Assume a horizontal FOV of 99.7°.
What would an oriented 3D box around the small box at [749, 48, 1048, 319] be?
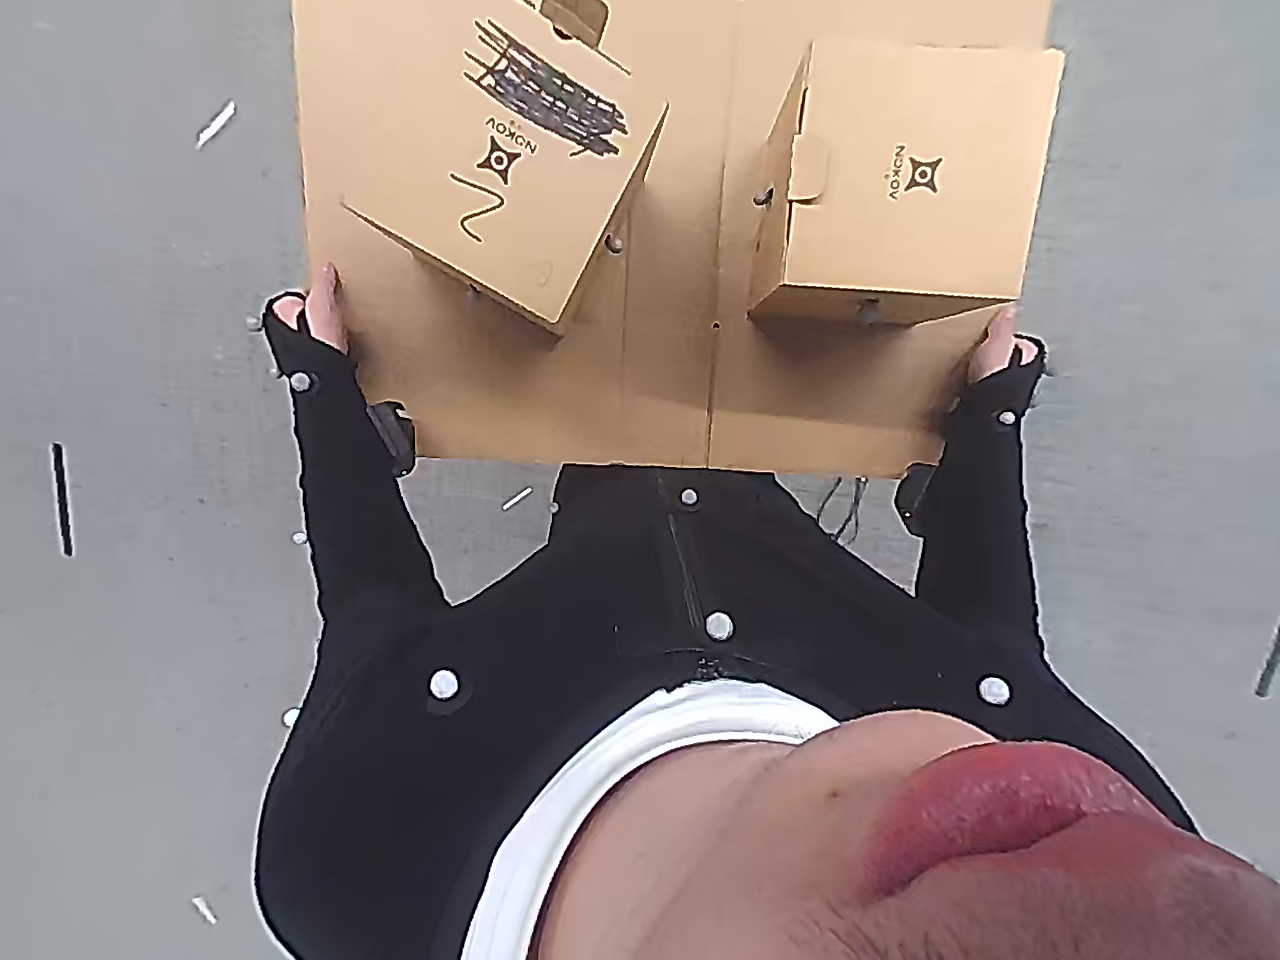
[{"bbox_3d":[0.204,-0.240,0.482,0.179,0.176,0.168,4,100,3],"label":"small box"}]
